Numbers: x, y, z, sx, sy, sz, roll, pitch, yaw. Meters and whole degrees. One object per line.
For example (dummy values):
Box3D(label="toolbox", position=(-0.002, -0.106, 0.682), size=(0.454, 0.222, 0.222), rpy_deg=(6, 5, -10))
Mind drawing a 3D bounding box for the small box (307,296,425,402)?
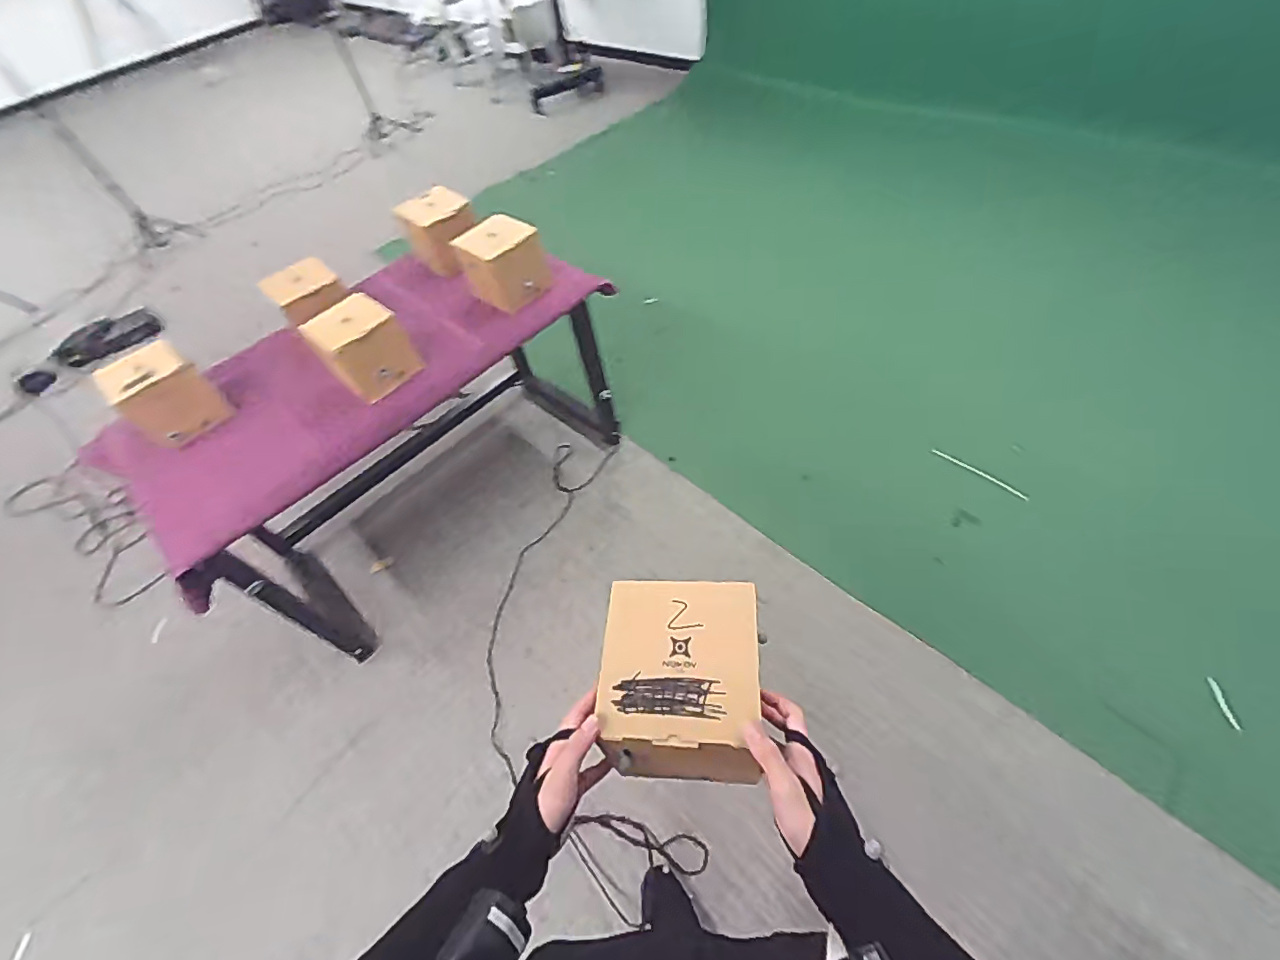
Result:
Box3D(label="small box", position=(-0.677, -0.323, 1.349), size=(0.179, 0.176, 0.168), rpy_deg=(33, 64, 29))

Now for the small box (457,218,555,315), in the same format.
Box3D(label="small box", position=(-0.365, -0.585, 1.491), size=(0.179, 0.176, 0.168), rpy_deg=(35, 67, 30))

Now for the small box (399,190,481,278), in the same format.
Box3D(label="small box", position=(-0.590, -0.743, 1.648), size=(0.168, 0.176, 0.179), rpy_deg=(-41, 60, -20))

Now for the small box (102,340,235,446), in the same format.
Box3D(label="small box", position=(-1.156, -0.209, 1.337), size=(0.168, 0.176, 0.179), rpy_deg=(-41, 57, -21))

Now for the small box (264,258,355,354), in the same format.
Box3D(label="small box", position=(-0.886, -0.475, 1.498), size=(0.168, 0.176, 0.179), rpy_deg=(-39, 57, -20))
